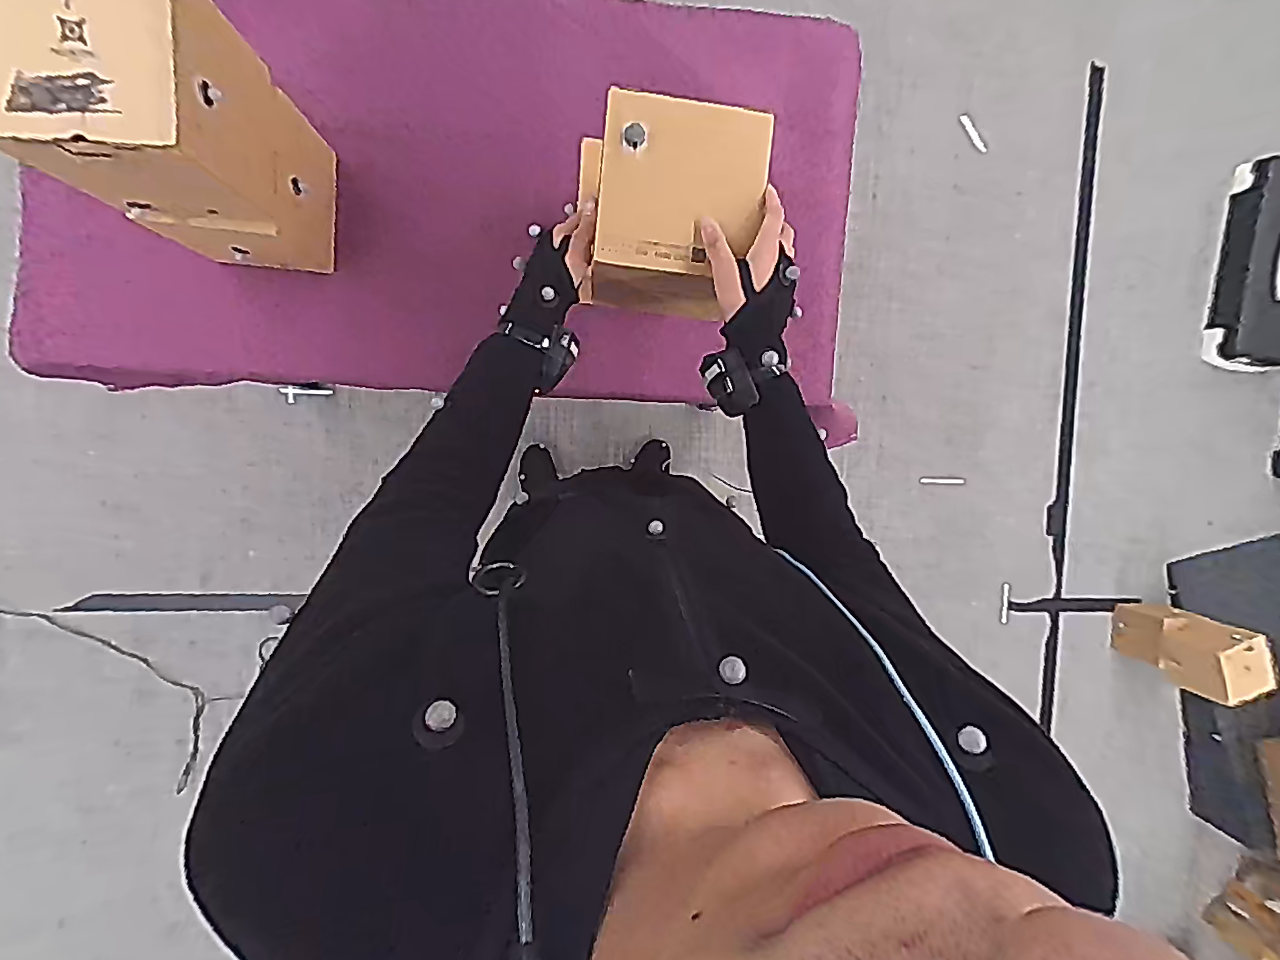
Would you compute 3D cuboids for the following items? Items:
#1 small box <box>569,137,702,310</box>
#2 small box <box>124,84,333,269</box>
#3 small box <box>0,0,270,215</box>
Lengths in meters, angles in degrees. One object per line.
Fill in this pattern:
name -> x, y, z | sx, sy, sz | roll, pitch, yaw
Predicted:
small box -> -0.014, -0.358, 0.792 | 0.168, 0.176, 0.179 | 4, 94, -8
small box -> -0.527, -0.395, 0.716 | 0.168, 0.176, 0.179 | 4, 95, -9
small box -> -0.508, -0.392, 0.552 | 0.168, 0.176, 0.179 | 0, 95, -8
